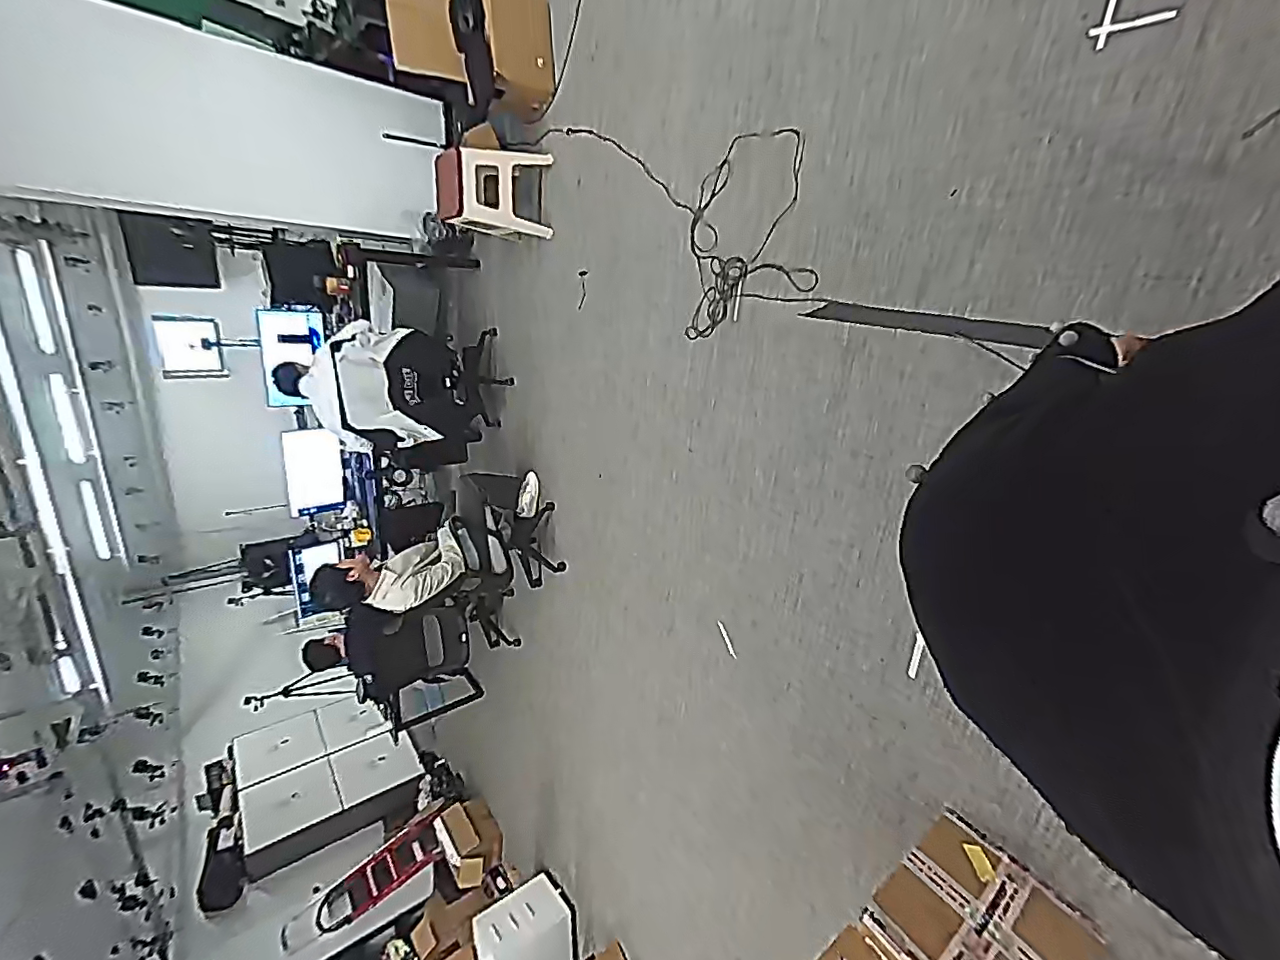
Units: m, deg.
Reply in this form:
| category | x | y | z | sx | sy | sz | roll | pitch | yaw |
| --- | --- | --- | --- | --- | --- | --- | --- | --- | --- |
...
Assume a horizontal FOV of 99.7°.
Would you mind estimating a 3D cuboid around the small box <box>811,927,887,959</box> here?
| category | x | y | z | sx | sy | sz | roll | pitch | yaw |
| --- | --- | --- | --- | --- | --- | --- | --- | --- | --- |
| small box | 0.505 | 1.218 | 1.282 | 0.179 | 0.176 | 0.168 | 32 | 122 | 45 |
